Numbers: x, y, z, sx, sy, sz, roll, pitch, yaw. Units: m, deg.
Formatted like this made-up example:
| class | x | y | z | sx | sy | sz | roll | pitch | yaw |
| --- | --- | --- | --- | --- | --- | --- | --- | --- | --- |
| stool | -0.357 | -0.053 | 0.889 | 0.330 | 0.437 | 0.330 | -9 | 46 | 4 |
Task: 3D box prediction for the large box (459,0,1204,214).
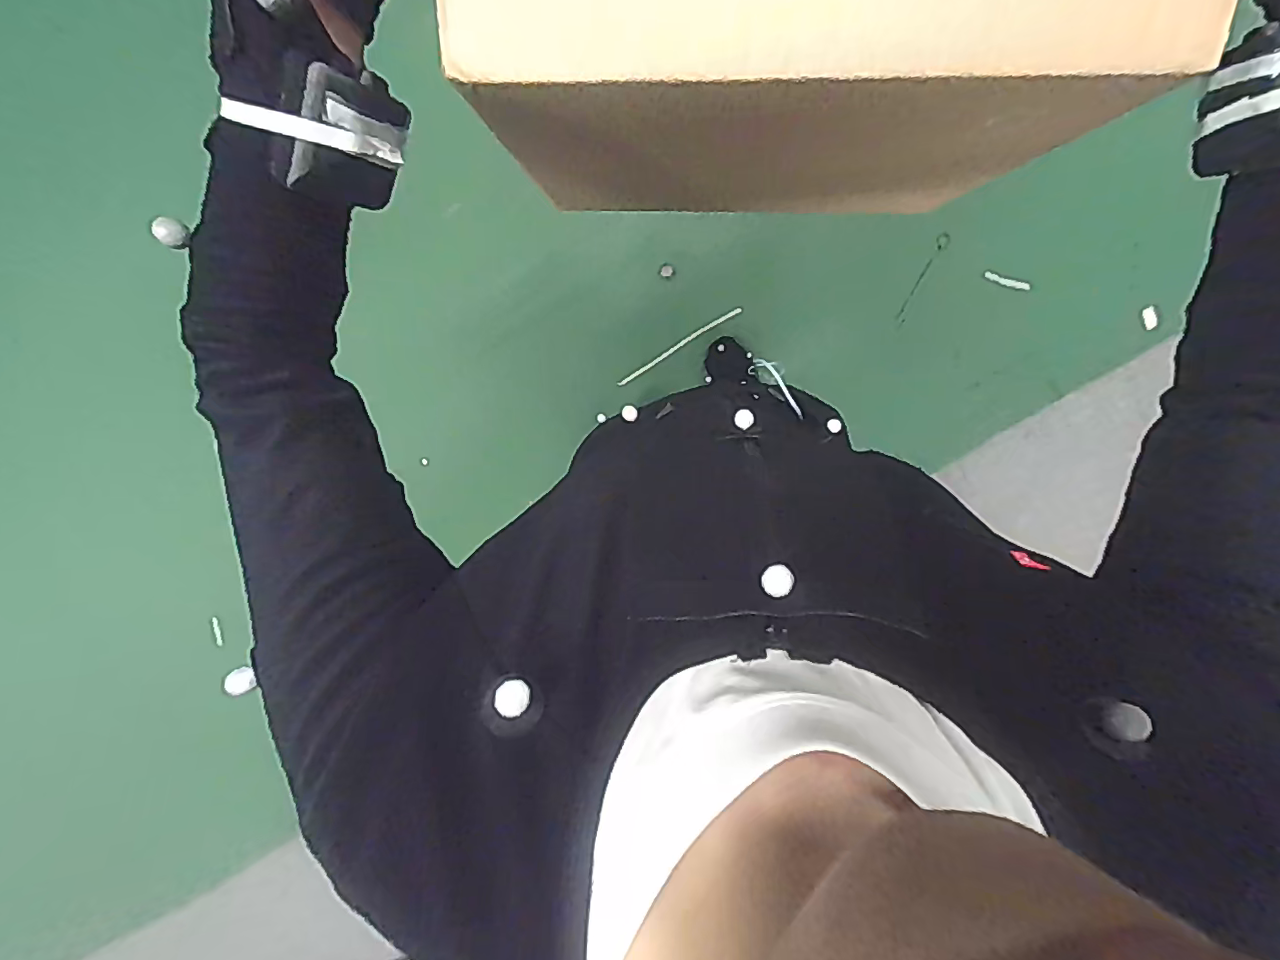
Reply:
| class | x | y | z | sx | sy | sz | roll | pitch | yaw |
| --- | --- | --- | --- | --- | --- | --- | --- | --- | --- |
| large box | 0.104 | -0.405 | 0.408 | 0.408 | 0.320 | 0.320 | 2 | 105 | 3 |
